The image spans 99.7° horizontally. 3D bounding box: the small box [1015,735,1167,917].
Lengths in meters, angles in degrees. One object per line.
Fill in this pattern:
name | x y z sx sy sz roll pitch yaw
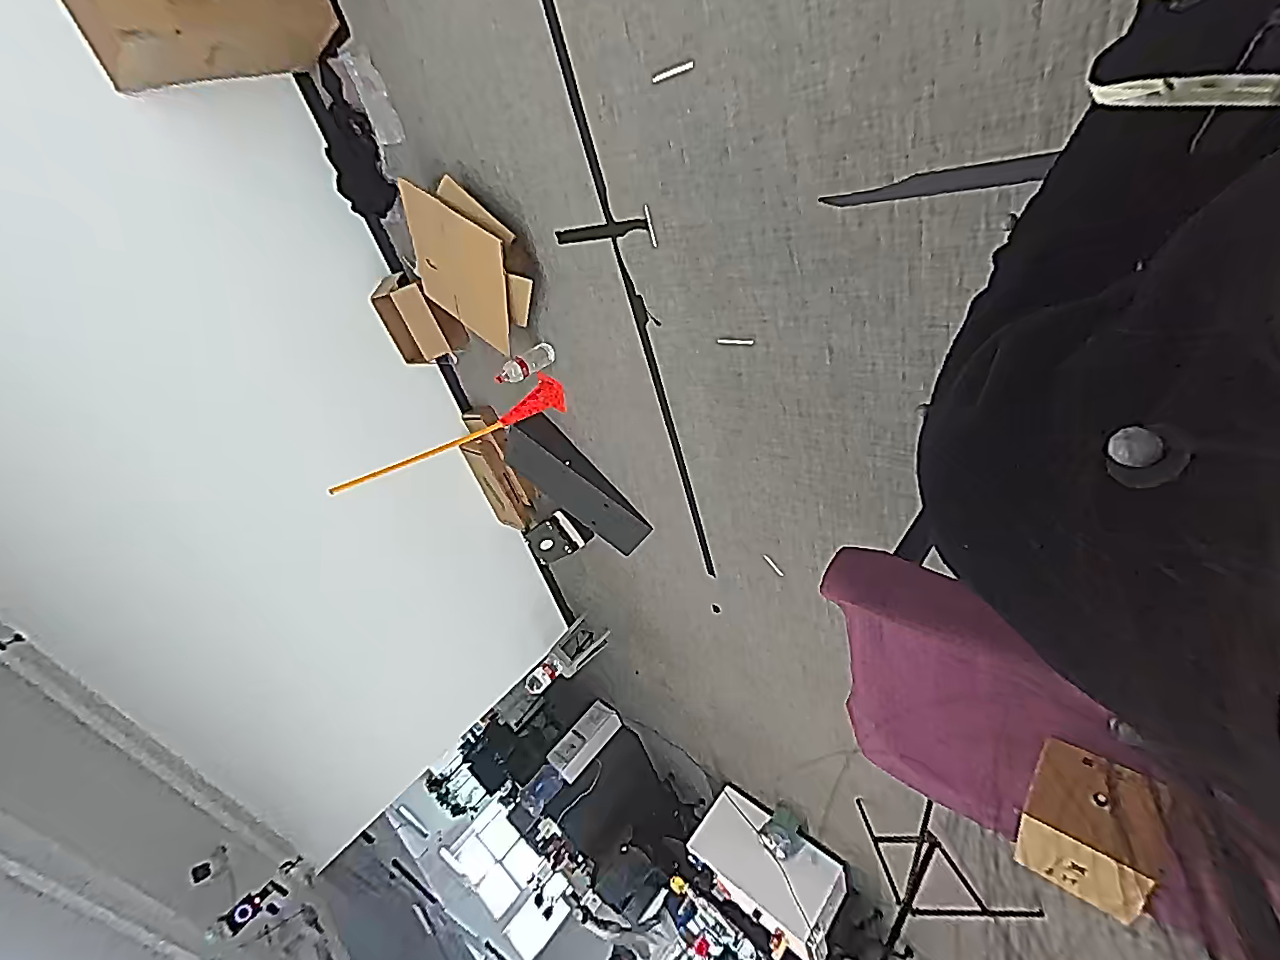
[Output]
small box | 0.774 0.584 0.933 0.168 0.176 0.179 16 136 43
